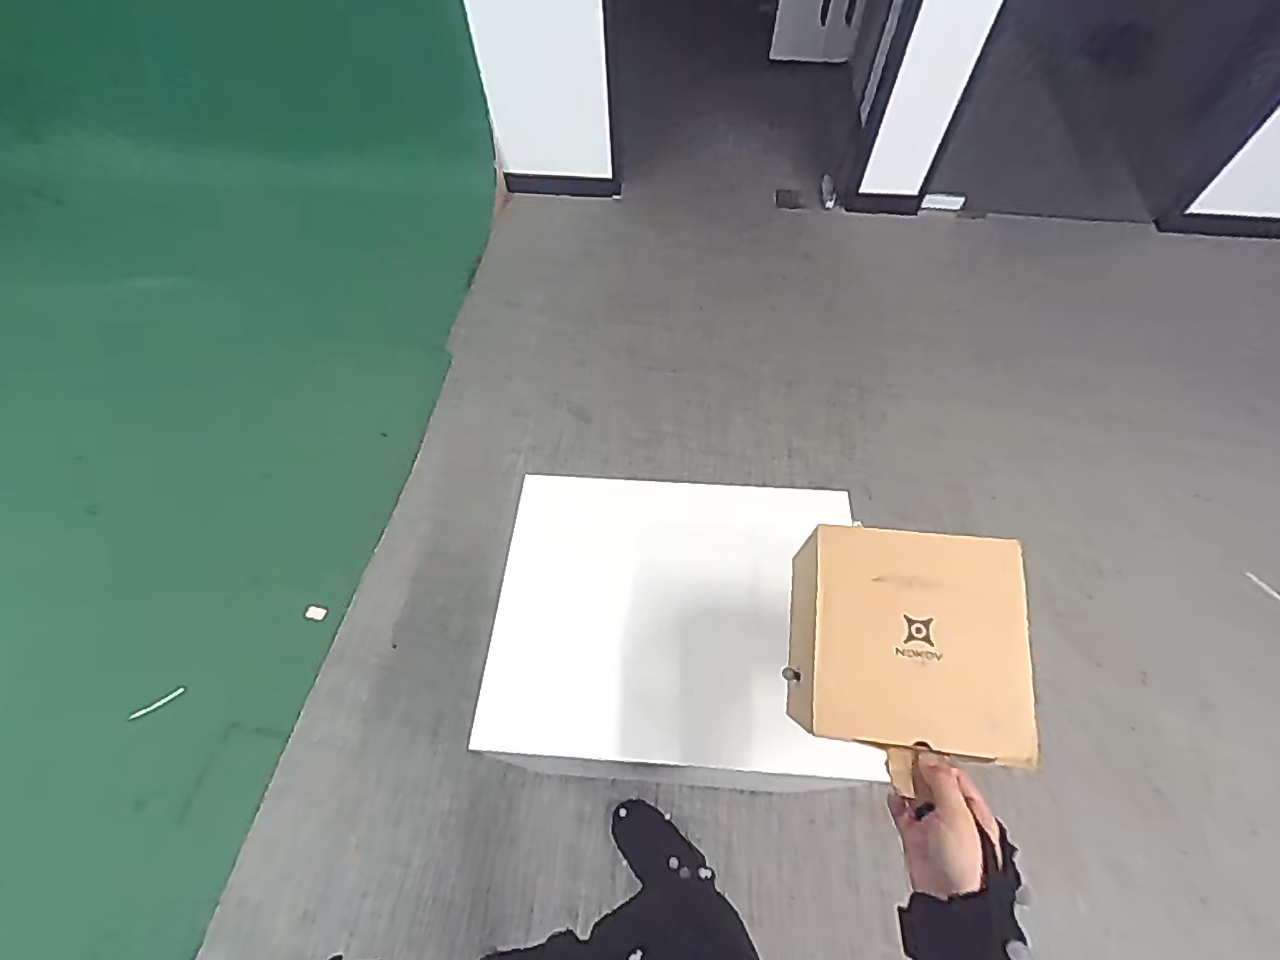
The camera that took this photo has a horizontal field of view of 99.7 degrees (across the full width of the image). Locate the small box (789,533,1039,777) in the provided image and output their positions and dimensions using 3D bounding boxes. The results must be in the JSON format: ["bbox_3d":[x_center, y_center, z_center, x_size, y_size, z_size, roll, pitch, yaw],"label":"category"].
[{"bbox_3d":[0.238,0.160,0.515,0.168,0.176,0.179,4,71,9],"label":"small box"}]
